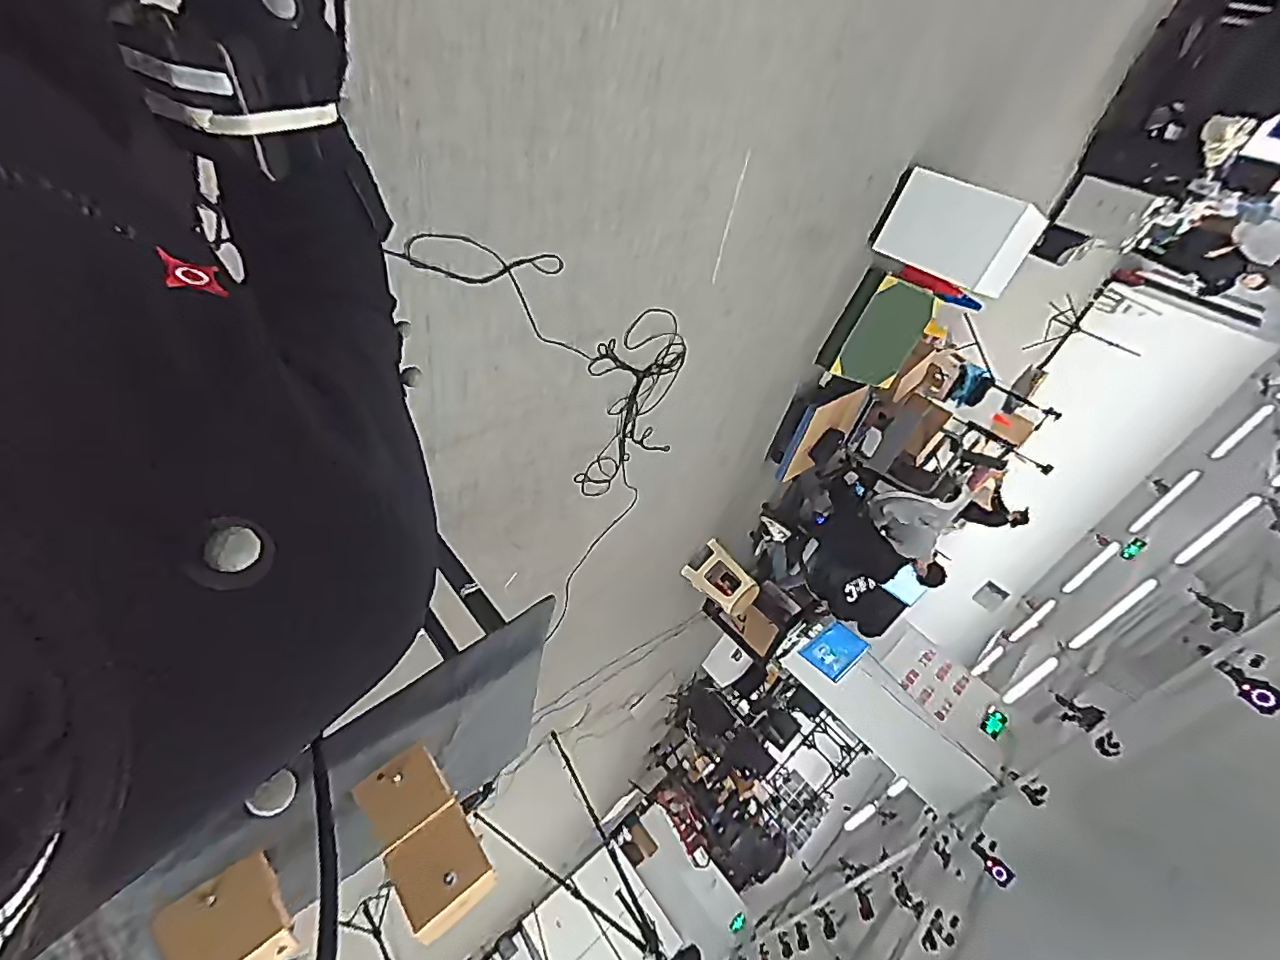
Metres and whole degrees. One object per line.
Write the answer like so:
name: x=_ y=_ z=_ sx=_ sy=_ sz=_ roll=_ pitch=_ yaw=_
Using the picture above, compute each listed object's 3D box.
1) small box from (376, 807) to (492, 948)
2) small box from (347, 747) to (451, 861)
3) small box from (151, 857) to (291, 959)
small box: x=-0.449 y=0.870 z=1.193 sx=0.179 sy=0.176 sz=0.168 roll=-27 pitch=143 yaw=-33
small box: x=-0.551 y=0.763 z=1.264 sx=0.168 sy=0.176 sz=0.179 roll=-30 pitch=146 yaw=-30
small box: x=-0.820 y=0.898 z=1.060 sx=0.179 sy=0.176 sz=0.168 roll=-22 pitch=142 yaw=-38
